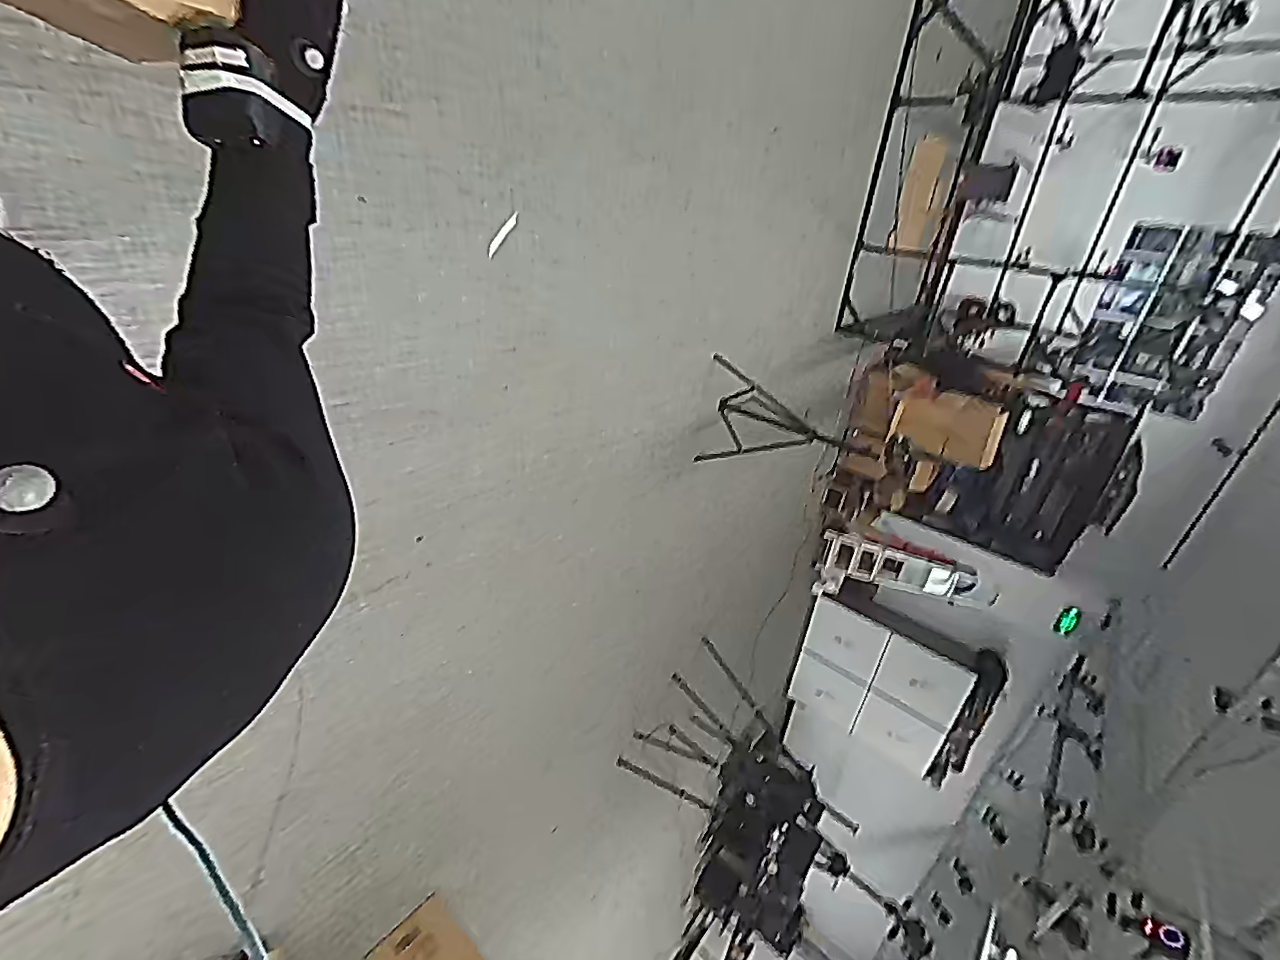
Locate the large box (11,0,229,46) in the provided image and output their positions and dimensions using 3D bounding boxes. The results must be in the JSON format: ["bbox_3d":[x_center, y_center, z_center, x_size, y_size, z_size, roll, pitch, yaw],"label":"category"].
[{"bbox_3d":[-0.496,-0.519,0.284,0.408,0.320,0.320,-3,117,-54],"label":"large box"}]
